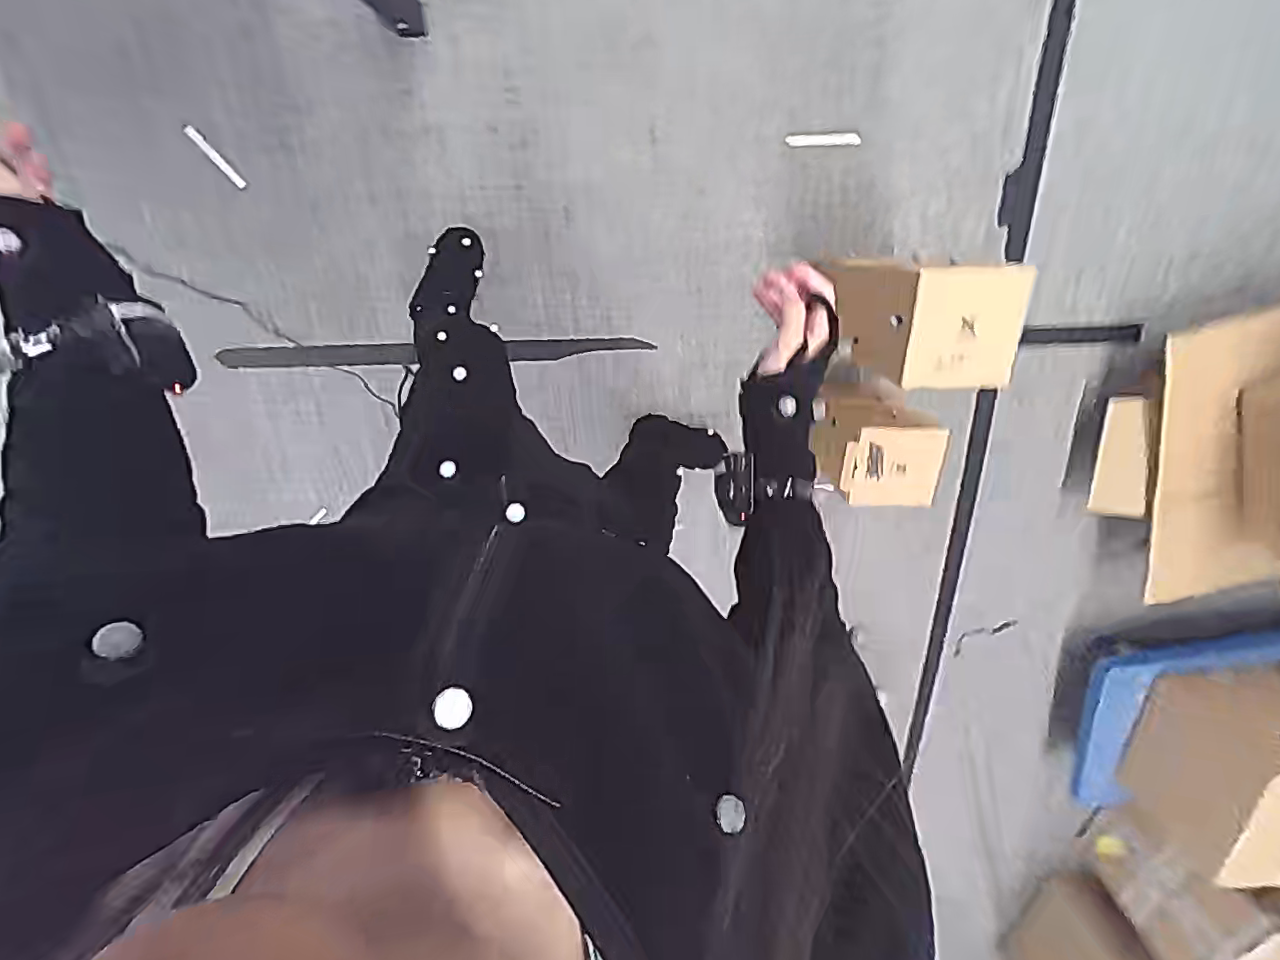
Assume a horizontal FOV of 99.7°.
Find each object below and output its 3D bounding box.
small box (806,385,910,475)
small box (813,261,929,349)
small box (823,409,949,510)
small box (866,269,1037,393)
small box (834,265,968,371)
[{"bbox_3d":[0.511,-0.117,1.295,0.168,0.176,0.179,3,114,-2],"label":"small box"},{"bbox_3d":[0.491,-0.383,1.178,0.179,0.176,0.168,-3,115,-1],"label":"small box"},{"bbox_3d":[0.507,-0.048,1.145,0.179,0.176,0.168,1,114,-2],"label":"small box"},{"bbox_3d":[0.488,-0.248,0.880,0.168,0.176,0.179,-1,115,0],"label":"small box"},{"bbox_3d":[0.485,-0.314,1.031,0.168,0.176,0.179,-2,115,0],"label":"small box"}]
